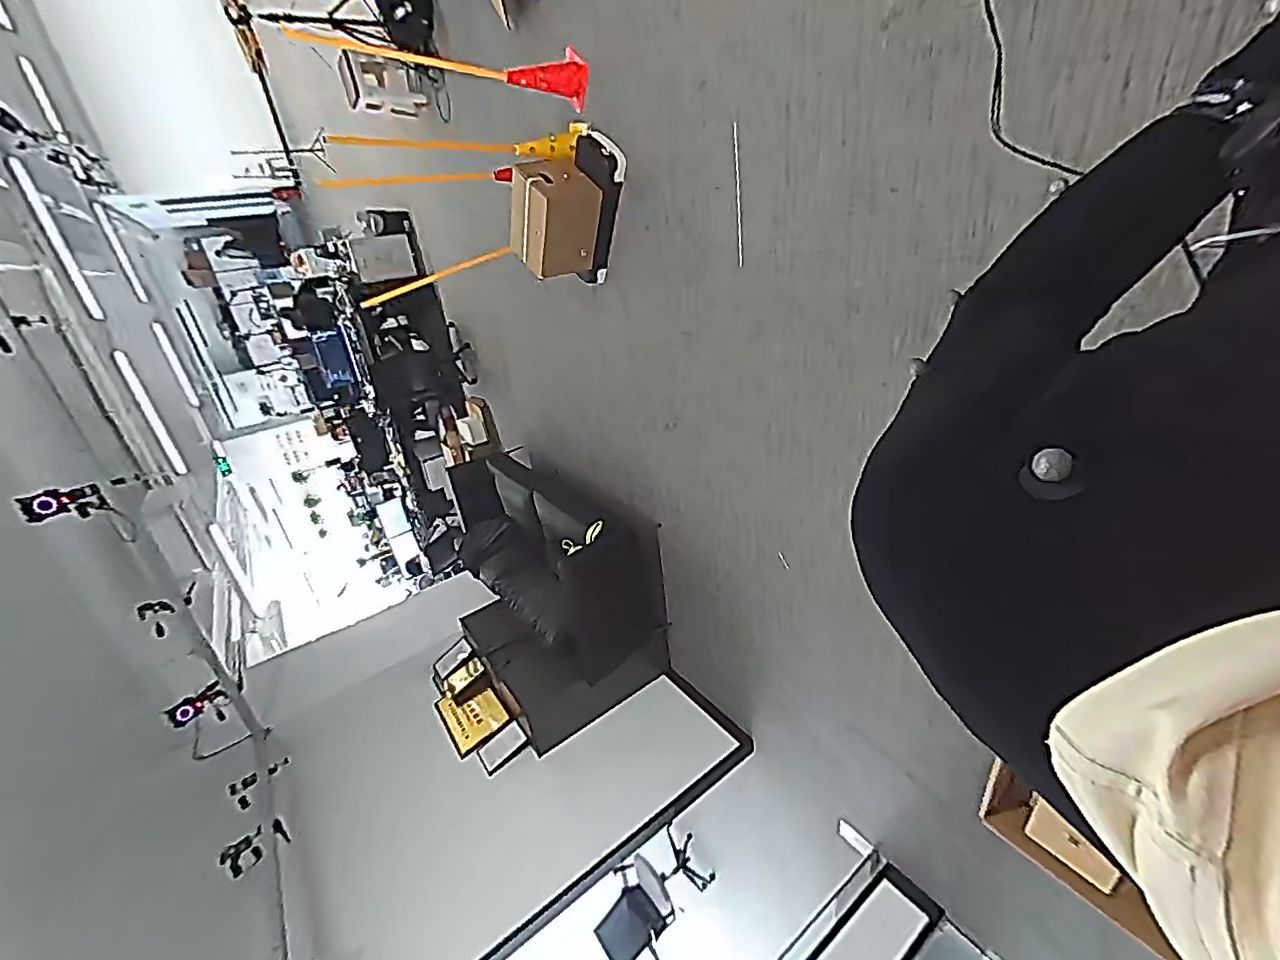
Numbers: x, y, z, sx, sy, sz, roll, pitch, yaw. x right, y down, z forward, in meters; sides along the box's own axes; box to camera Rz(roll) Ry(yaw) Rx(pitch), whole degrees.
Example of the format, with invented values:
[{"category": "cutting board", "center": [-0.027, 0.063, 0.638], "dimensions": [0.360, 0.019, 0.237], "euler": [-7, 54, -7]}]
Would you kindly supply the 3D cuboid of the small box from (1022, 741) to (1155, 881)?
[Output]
[{"category": "small box", "center": [1.018, 0.743, 1.229], "dimensions": [0.168, 0.176, 0.179], "euler": [31, 135, 48]}]
